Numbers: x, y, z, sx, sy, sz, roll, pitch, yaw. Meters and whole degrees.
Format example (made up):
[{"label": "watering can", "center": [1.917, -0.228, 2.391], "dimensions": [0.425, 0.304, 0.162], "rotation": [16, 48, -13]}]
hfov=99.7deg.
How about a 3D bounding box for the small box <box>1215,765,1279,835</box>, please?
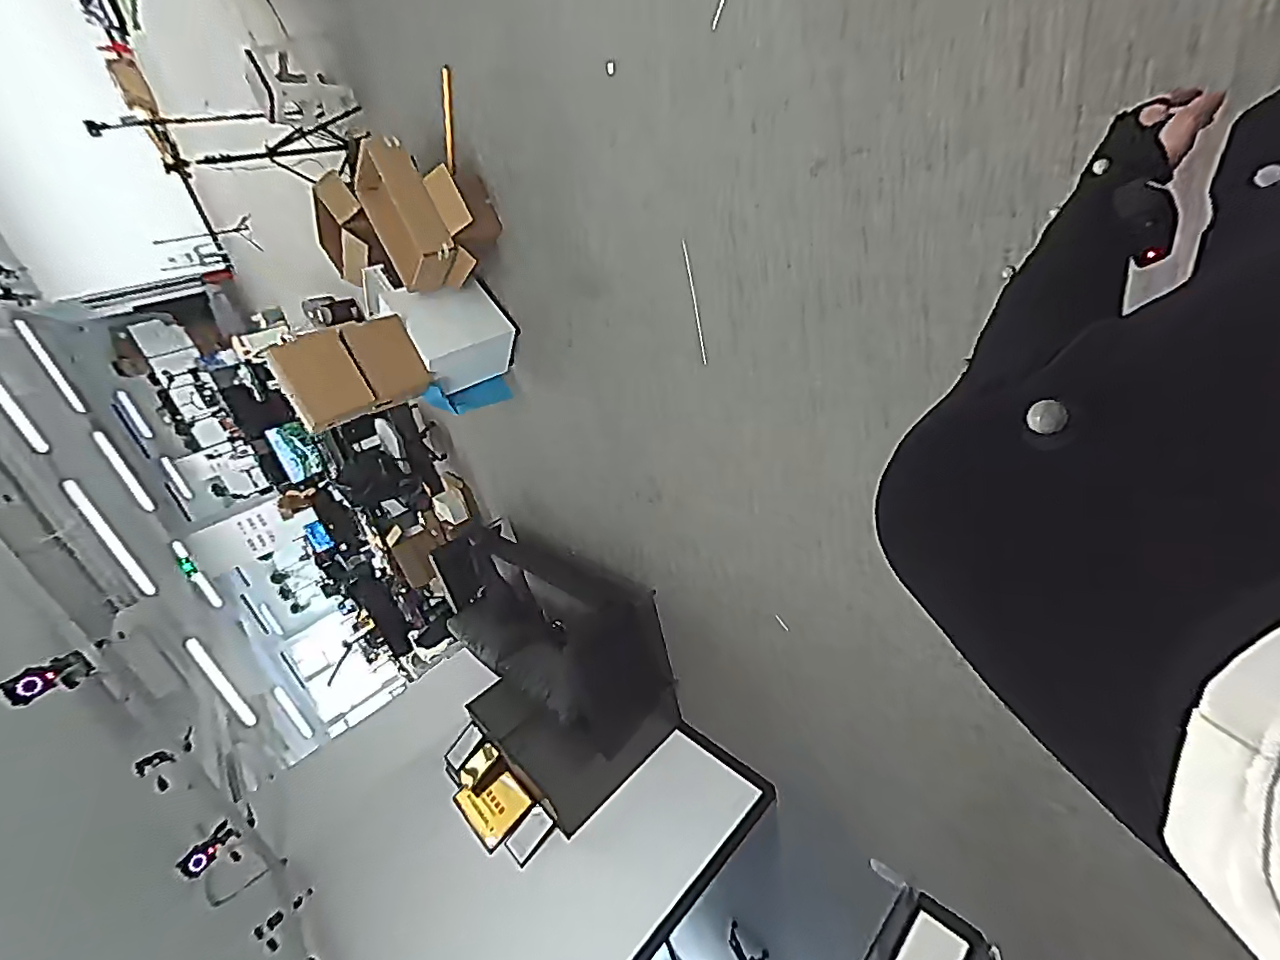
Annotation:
[{"label": "small box", "center": [1.619, 0.859, 1.365], "dimensions": [0.179, 0.176, 0.168], "rotation": [25, 135, 41]}]
